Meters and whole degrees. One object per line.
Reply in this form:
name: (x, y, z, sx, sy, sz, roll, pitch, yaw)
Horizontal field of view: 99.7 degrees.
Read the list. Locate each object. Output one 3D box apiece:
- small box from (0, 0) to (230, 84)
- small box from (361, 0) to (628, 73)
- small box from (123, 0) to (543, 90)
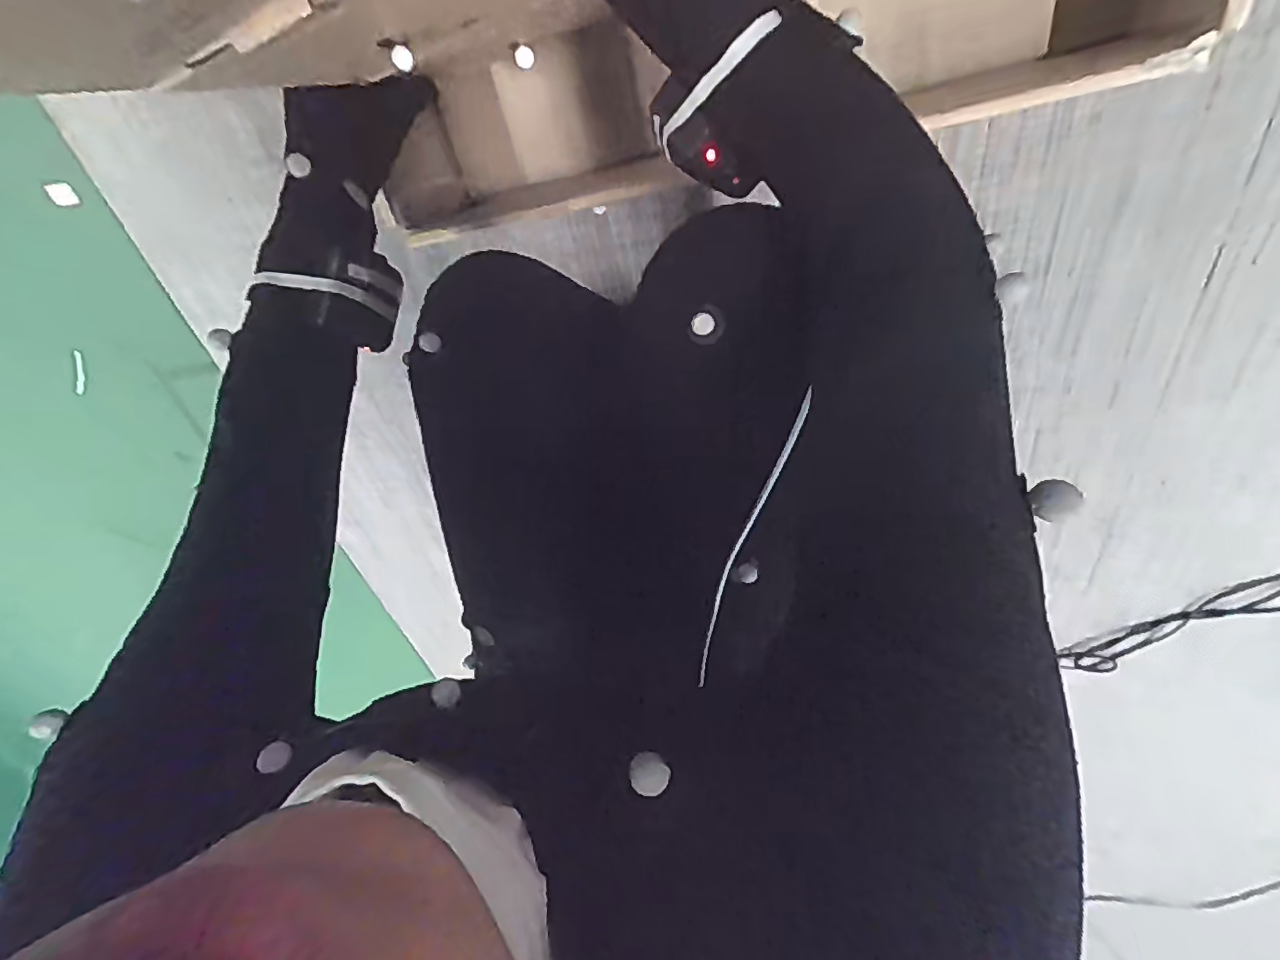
small box: (-0.193, -0.200, 0.104, 0.168, 0.176, 0.179, -9, 125, 20)
small box: (-0.119, -0.396, 0.355, 0.168, 0.176, 0.179, -5, 126, 19)
small box: (-0.154, -0.297, 0.230, 0.168, 0.176, 0.179, -7, 127, 20)
